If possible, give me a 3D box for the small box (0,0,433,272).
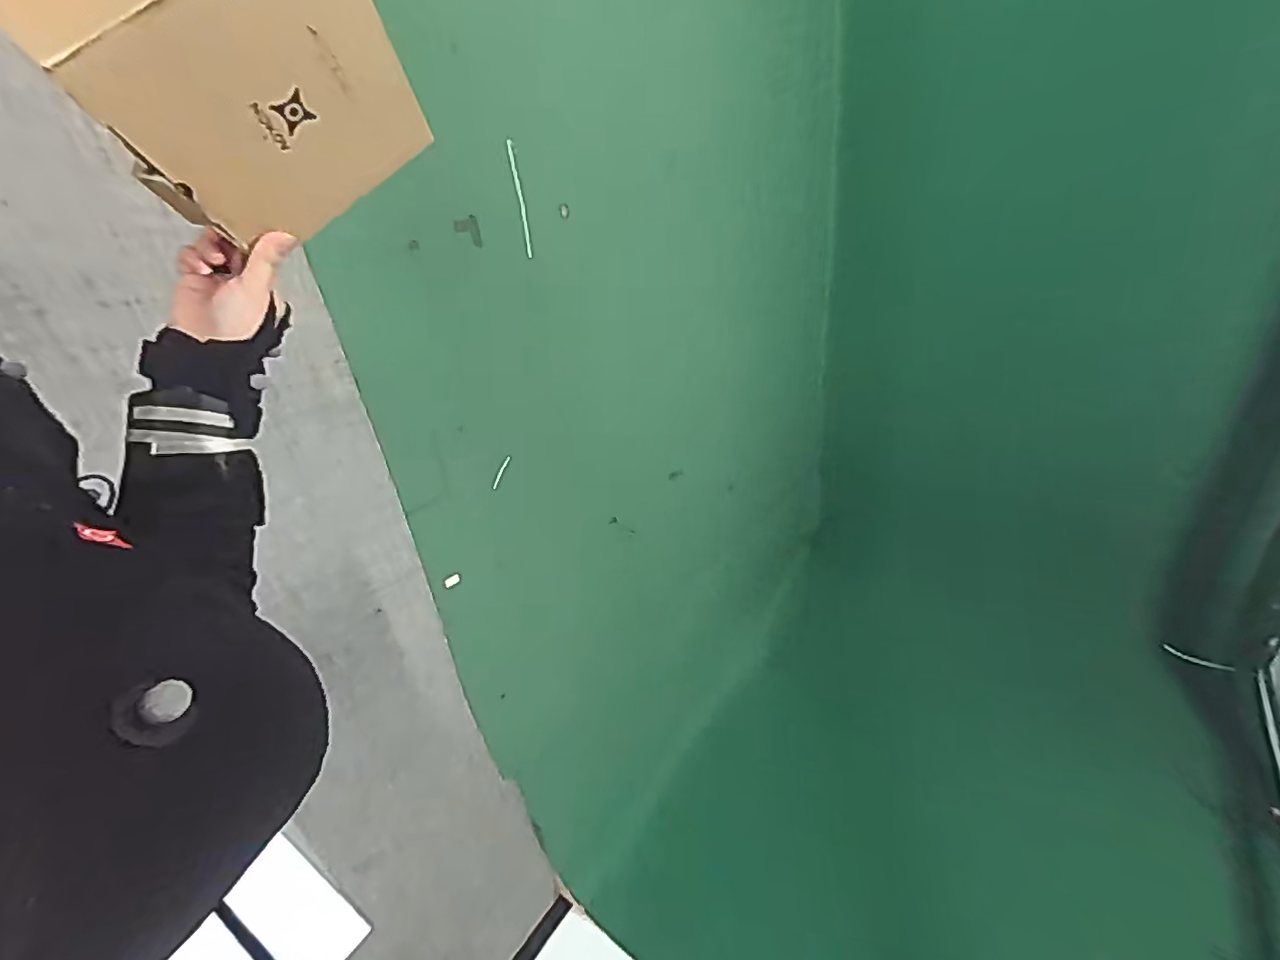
[{"bbox_3d":[-0.289,-0.294,0.373,0.179,0.176,0.168,-46,171,-9],"label":"small box"}]
